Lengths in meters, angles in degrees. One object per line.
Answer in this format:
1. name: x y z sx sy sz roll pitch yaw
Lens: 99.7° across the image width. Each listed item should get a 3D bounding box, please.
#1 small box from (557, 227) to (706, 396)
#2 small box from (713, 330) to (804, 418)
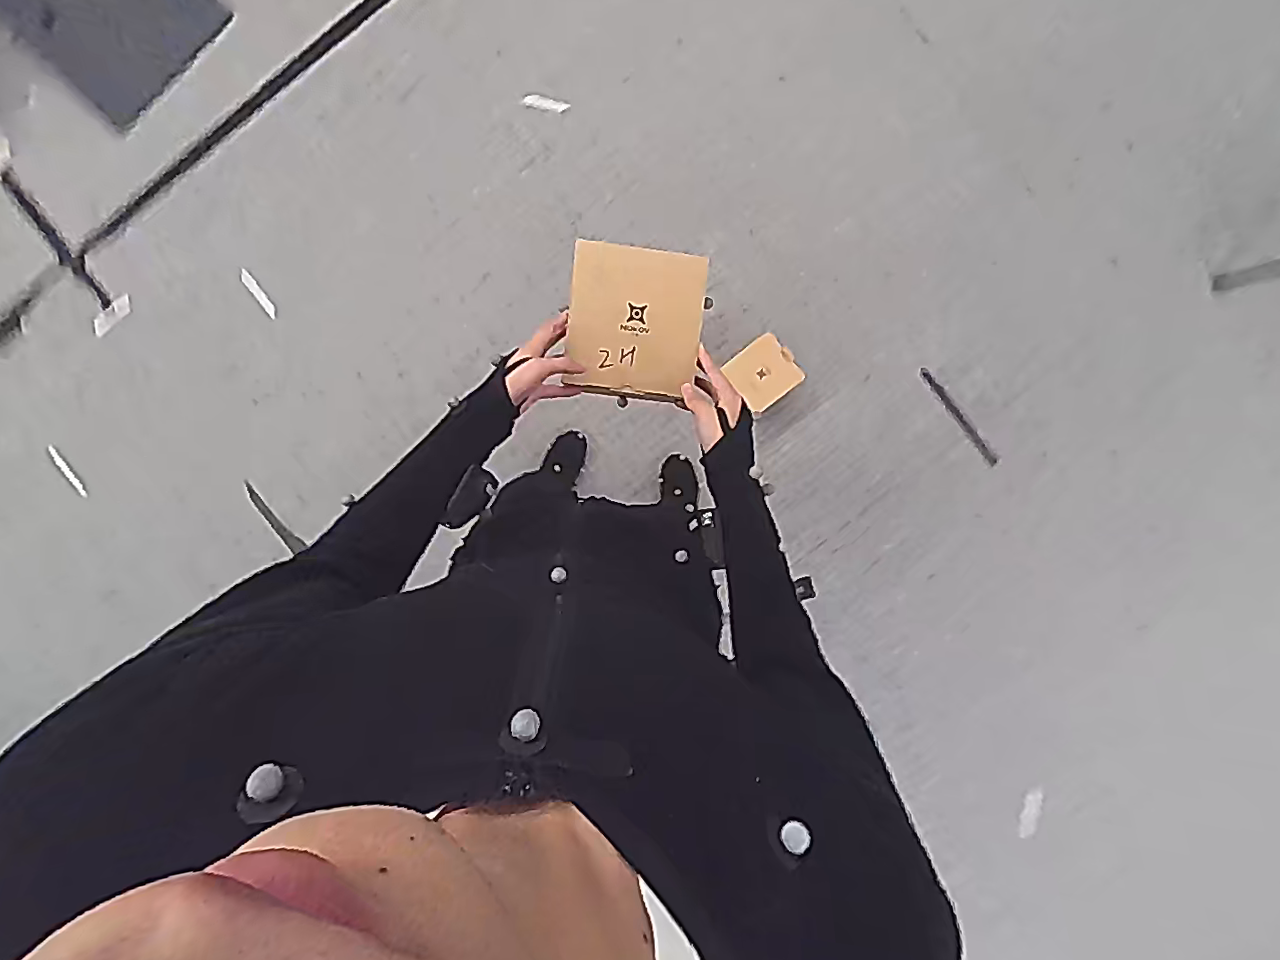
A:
1. small box: -0.017 -0.212 0.727 0.168 0.176 0.179 6 97 -5
2. small box: 0.325 -0.291 1.525 0.179 0.176 0.168 -37 91 2
